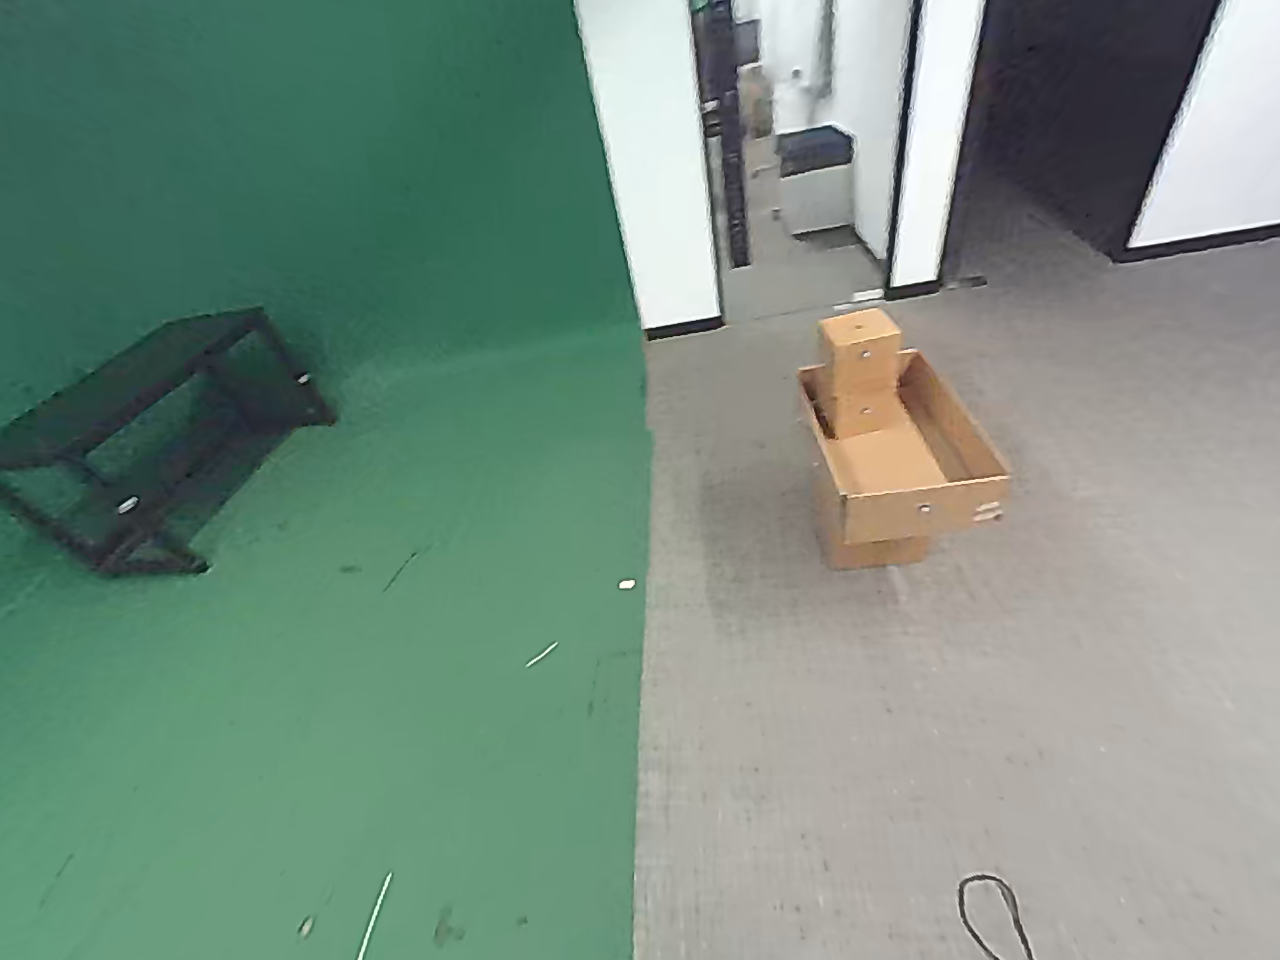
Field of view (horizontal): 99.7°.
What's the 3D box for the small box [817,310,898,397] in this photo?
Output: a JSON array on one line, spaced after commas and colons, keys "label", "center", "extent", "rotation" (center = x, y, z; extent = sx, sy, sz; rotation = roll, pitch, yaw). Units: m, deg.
[{"label": "small box", "center": [0.627, -0.368, 1.581], "extent": [0.179, 0.176, 0.168], "rotation": [-12, 41, 5]}]
